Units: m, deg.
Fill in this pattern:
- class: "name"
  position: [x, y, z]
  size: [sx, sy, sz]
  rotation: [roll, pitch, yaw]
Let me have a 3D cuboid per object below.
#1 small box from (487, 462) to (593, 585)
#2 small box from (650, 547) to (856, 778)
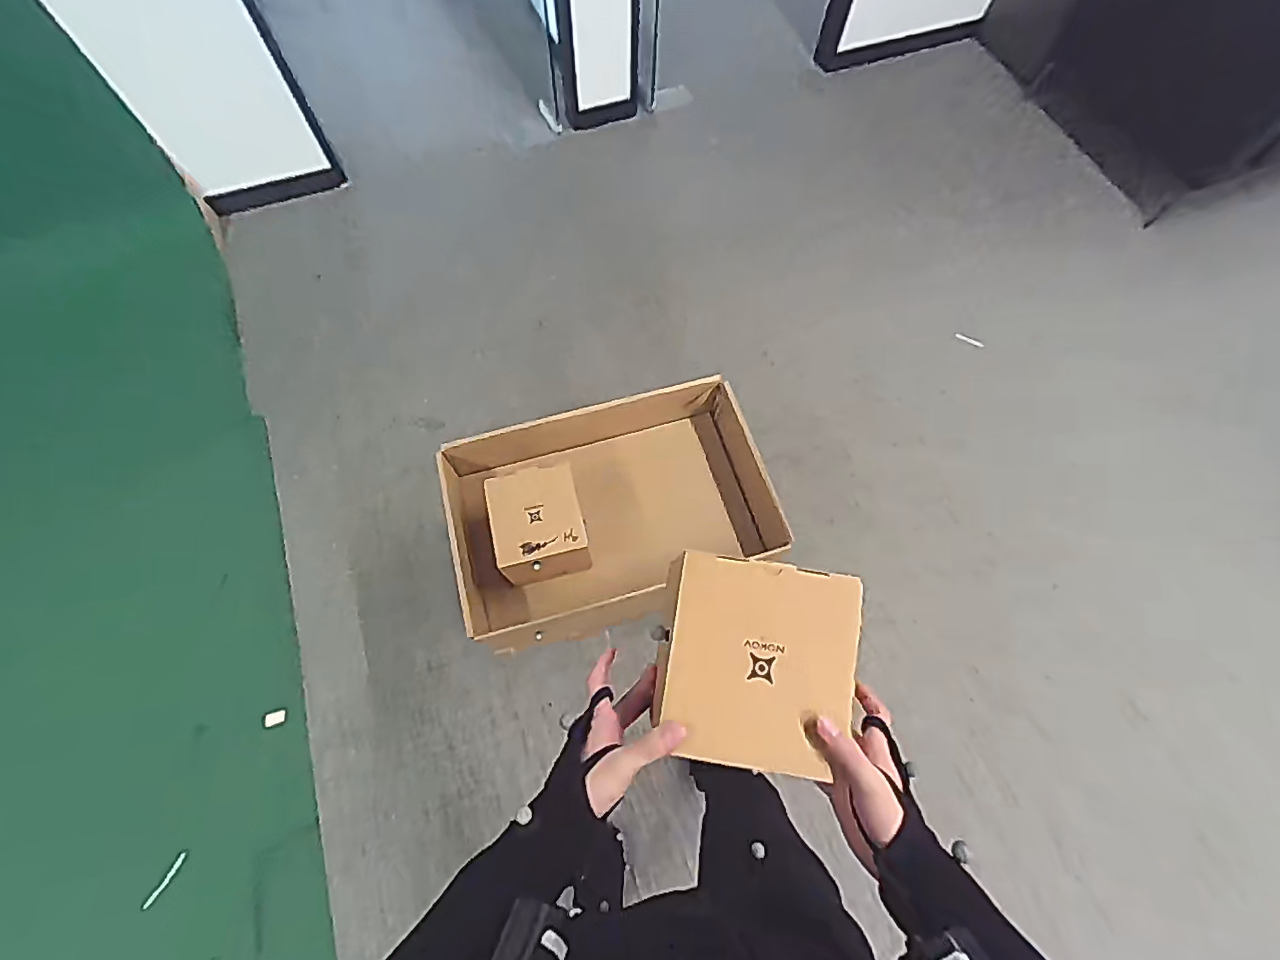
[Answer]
- class: "small box"
  position: [-0.191, 0.091, 1.063]
  size: [0.168, 0.176, 0.179]
  rotation: [-13, 68, -6]
- class: "small box"
  position: [0.104, 0.175, 0.556]
  size: [0.168, 0.176, 0.179]
  rotation: [9, 77, 2]
